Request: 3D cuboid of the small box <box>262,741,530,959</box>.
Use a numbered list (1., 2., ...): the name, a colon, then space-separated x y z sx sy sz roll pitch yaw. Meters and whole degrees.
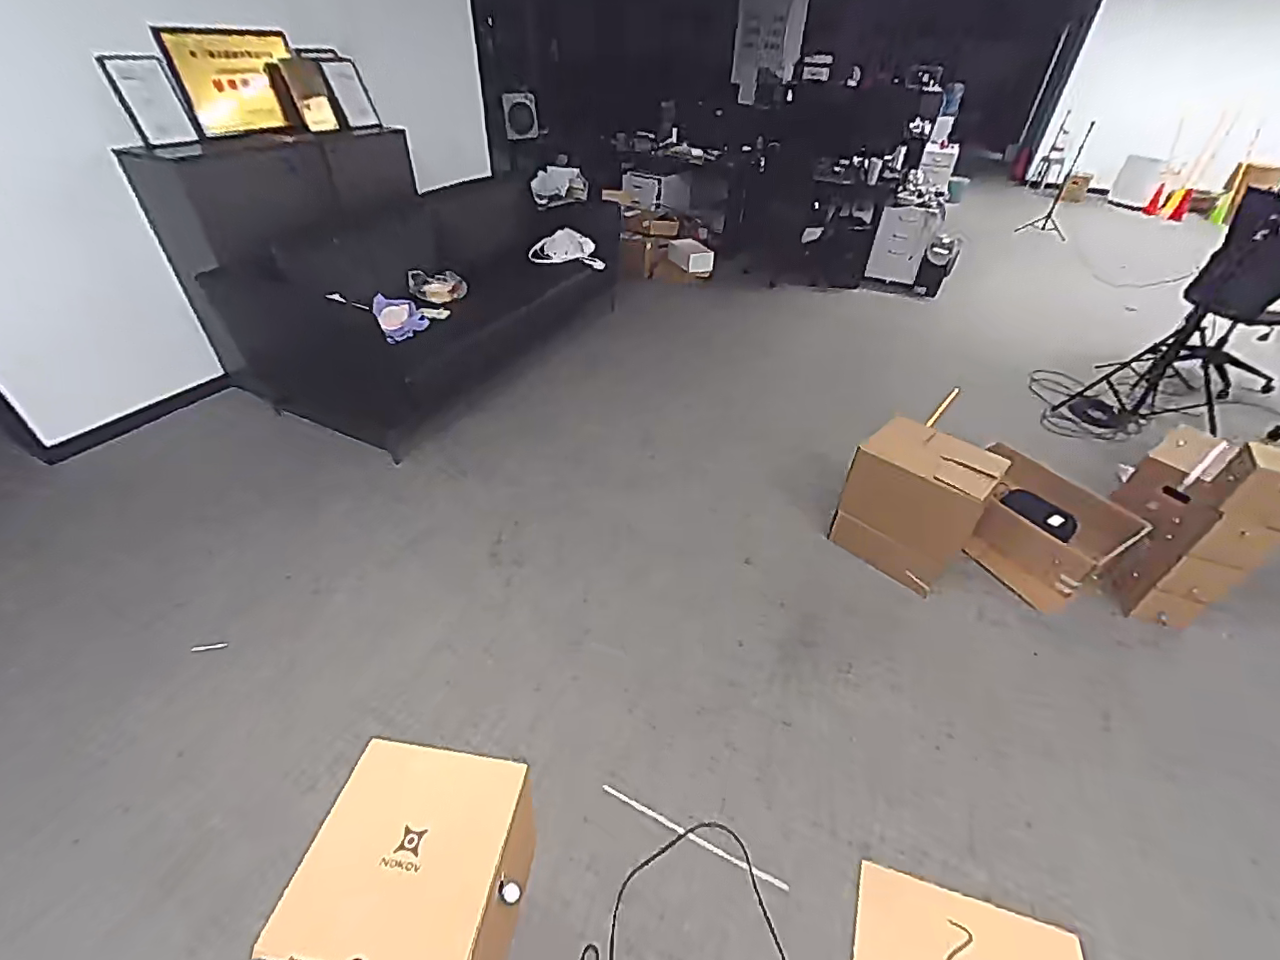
1. small box: -0.211 0.394 0.528 0.168 0.176 0.179 8 35 4
